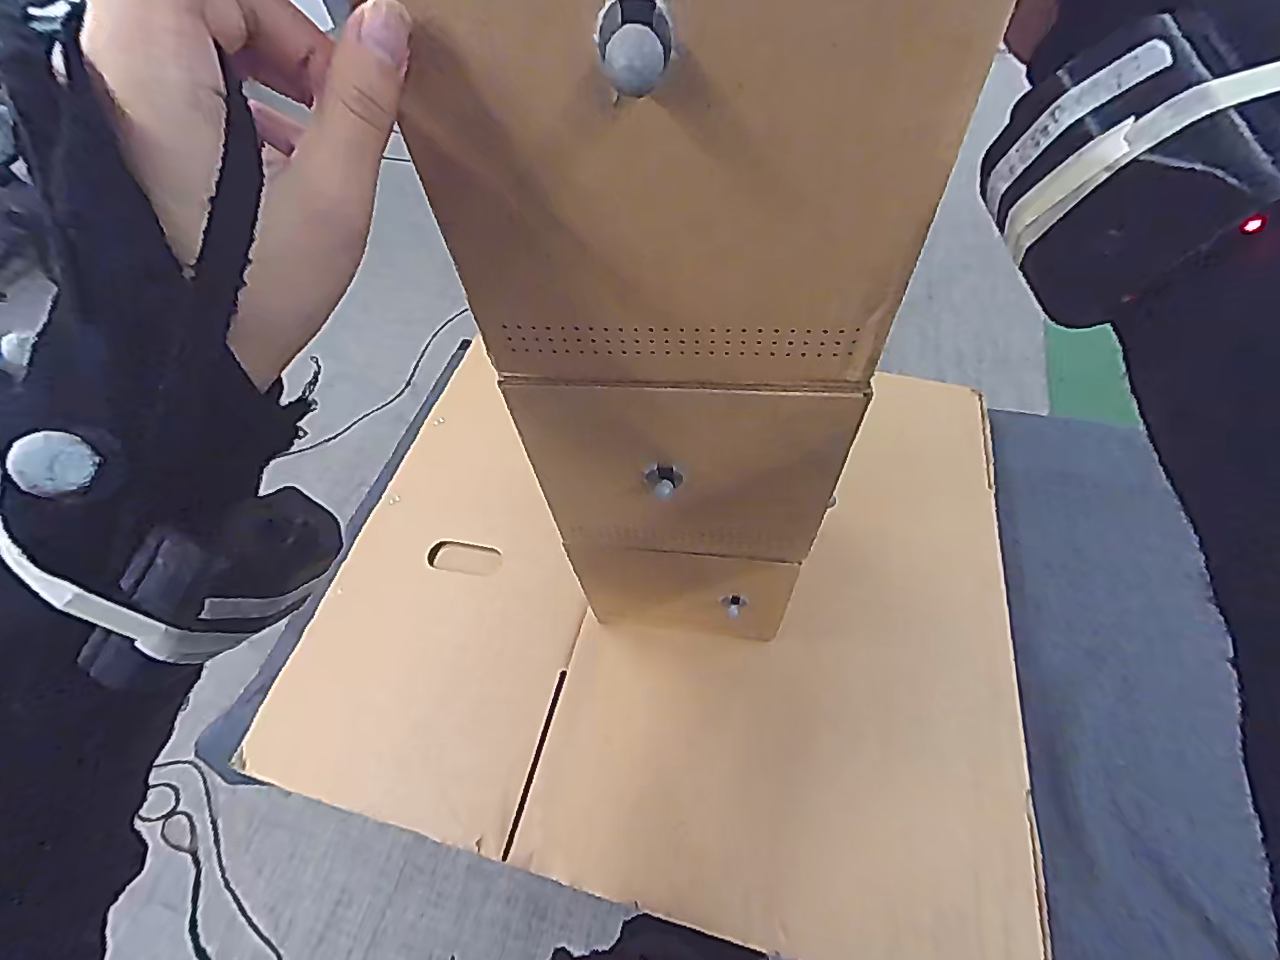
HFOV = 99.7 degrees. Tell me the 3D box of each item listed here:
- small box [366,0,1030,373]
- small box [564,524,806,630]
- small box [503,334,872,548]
[{"bbox_3d":[0.024,-0.160,0.229,0.179,0.176,0.168,2,56,8],"label":"small box"},{"bbox_3d":[0.046,0.029,0.495,0.179,0.176,0.168,3,56,9],"label":"small box"},{"bbox_3d":[0.034,-0.065,0.360,0.179,0.176,0.168,2,56,8],"label":"small box"}]
